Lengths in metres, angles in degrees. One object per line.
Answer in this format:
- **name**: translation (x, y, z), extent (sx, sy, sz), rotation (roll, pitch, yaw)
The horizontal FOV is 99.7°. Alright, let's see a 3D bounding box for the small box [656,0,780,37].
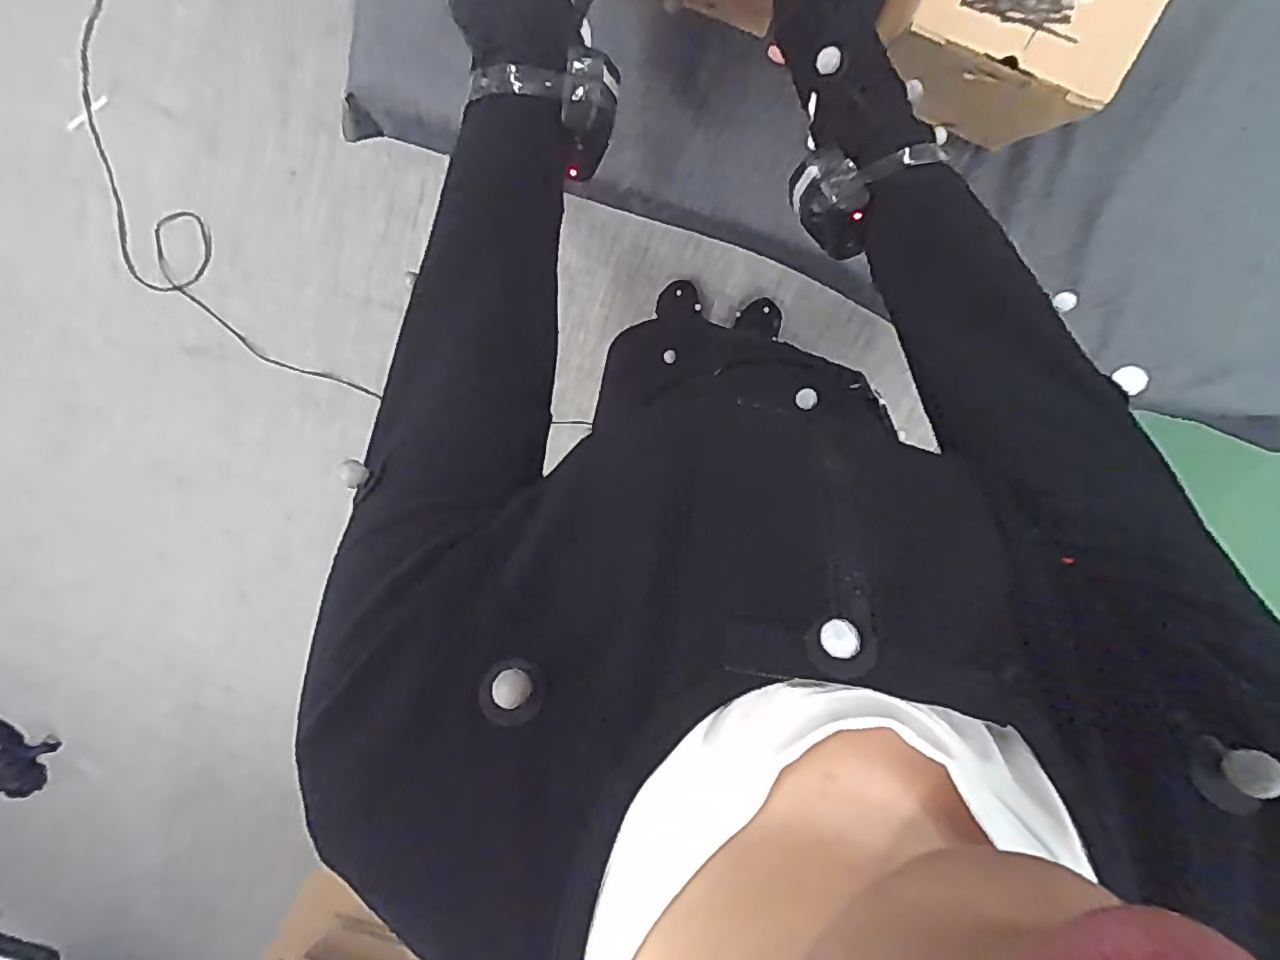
- **small box**: translation (0.069, -0.509, 0.431), extent (0.168, 0.176, 0.179), rotation (19, 114, -2)

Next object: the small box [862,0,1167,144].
- **small box**: translation (0.310, -0.411, 0.448), extent (0.168, 0.176, 0.179), rotation (20, 112, -4)
